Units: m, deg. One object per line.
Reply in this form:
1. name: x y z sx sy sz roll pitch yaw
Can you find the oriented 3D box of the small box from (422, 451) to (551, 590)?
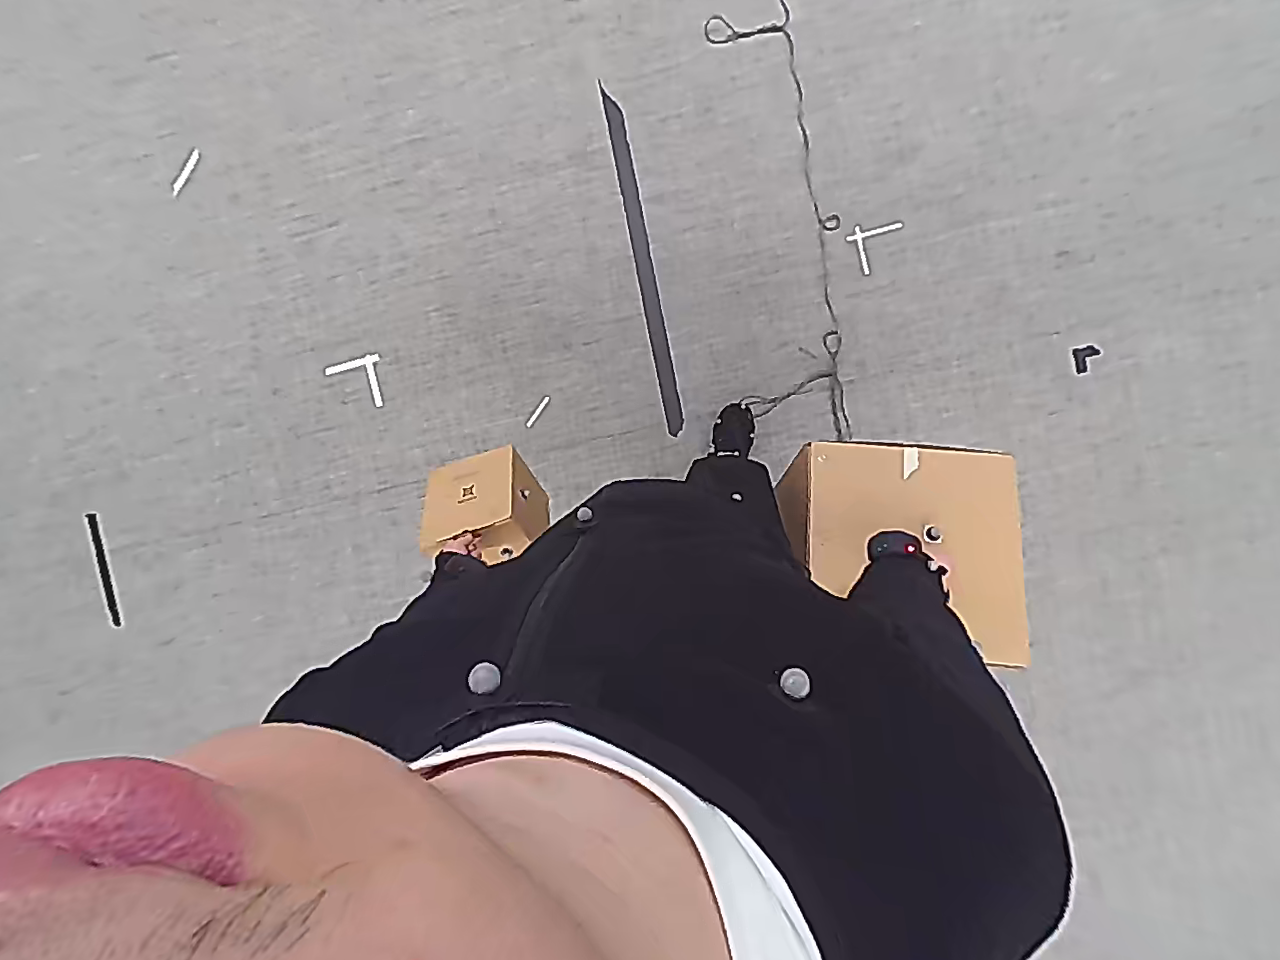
1. small box: -0.269 0.082 0.989 0.168 0.176 0.179 -17 45 6
